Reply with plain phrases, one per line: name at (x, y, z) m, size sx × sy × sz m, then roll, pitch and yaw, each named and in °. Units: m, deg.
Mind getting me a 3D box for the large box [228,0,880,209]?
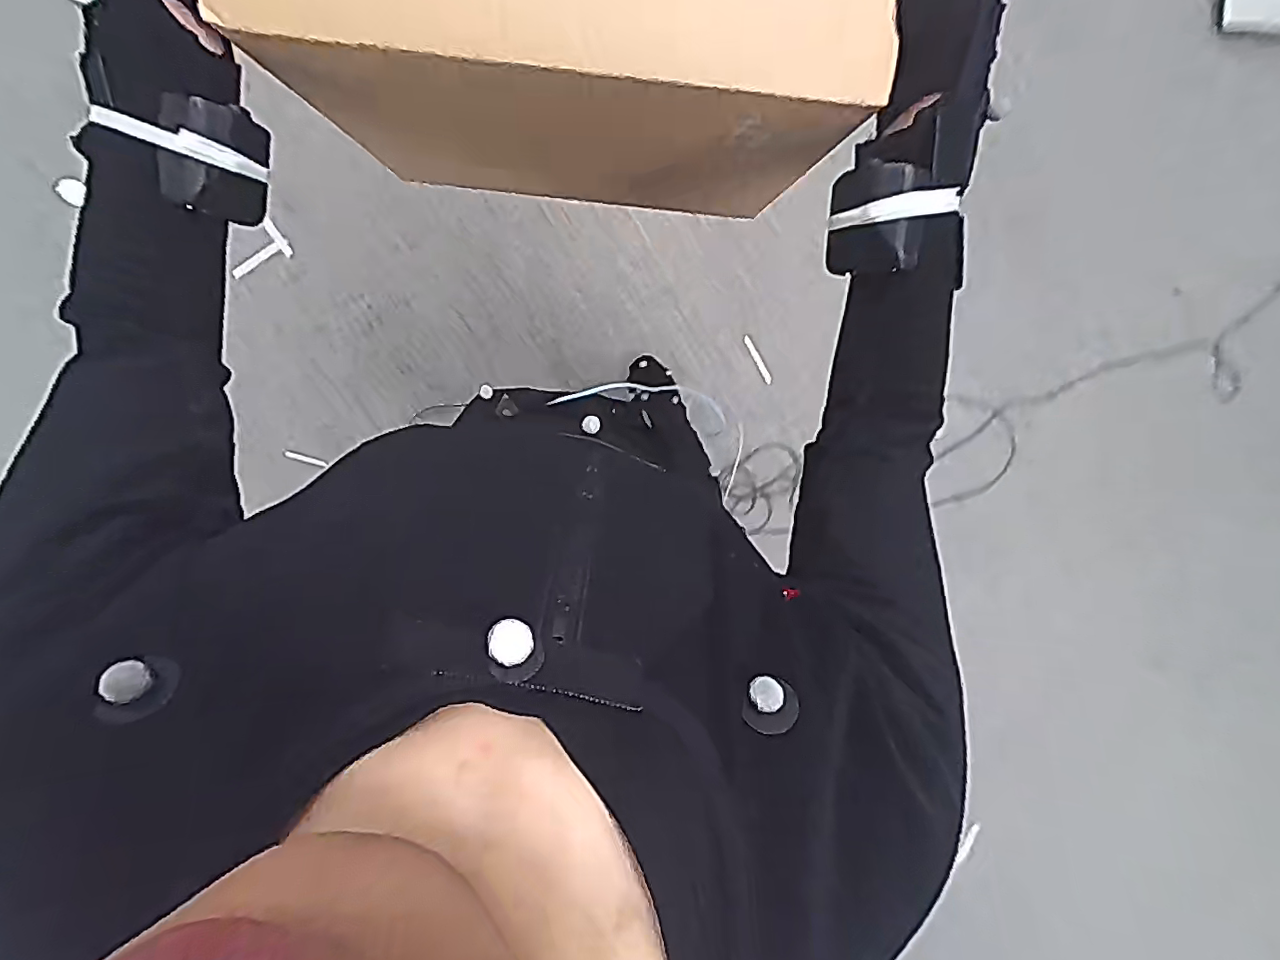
large box at (-0.052, -0.439, 0.448) m, size 0.408 × 0.320 × 0.320 m, roll 2°, pitch 104°, yaw -5°
